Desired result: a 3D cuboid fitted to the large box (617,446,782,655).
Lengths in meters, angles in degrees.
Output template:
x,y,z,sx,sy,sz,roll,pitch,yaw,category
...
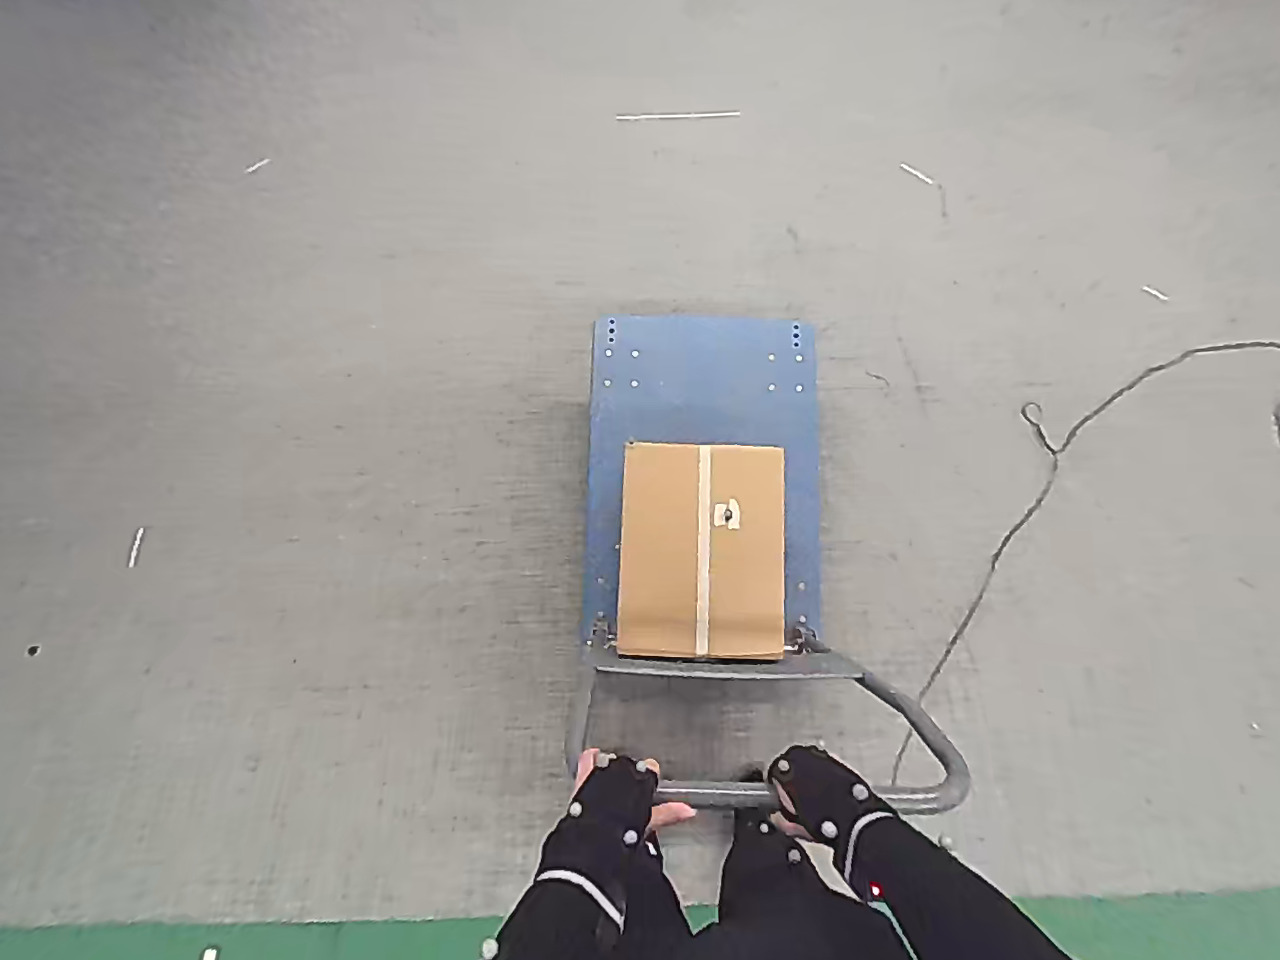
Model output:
x,y,z,sx,sy,sz,roll,pitch,yaw,category
0.114,0.156,1.187,0.320,0.320,0.408,2,81,-1,large box
